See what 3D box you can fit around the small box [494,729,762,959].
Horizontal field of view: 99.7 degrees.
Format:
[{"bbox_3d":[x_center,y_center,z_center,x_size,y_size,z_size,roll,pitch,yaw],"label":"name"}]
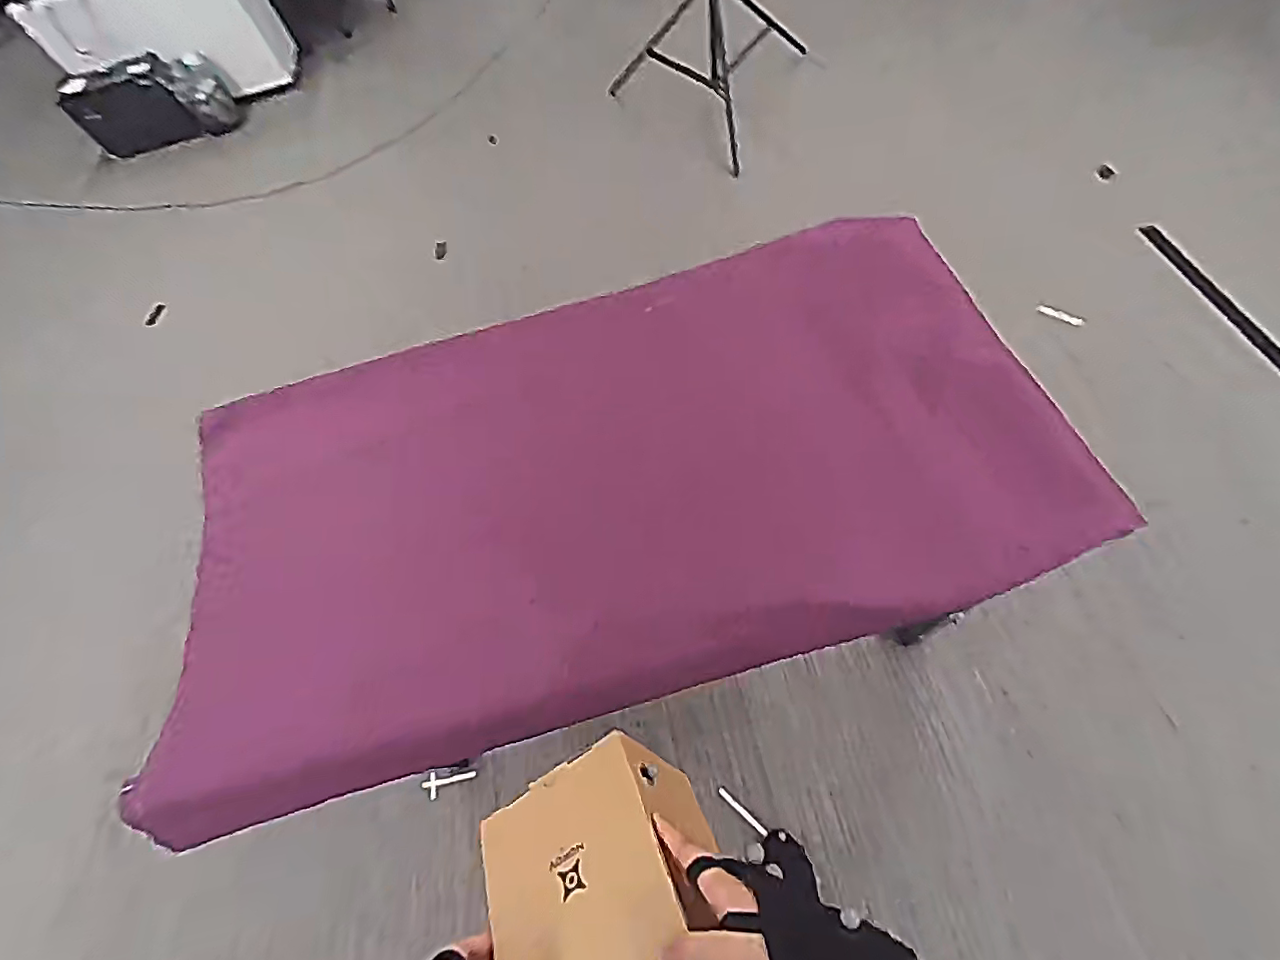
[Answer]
[{"bbox_3d":[-0.011,0.382,0.512,0.168,0.176,0.179,-35,38,1],"label":"small box"}]
